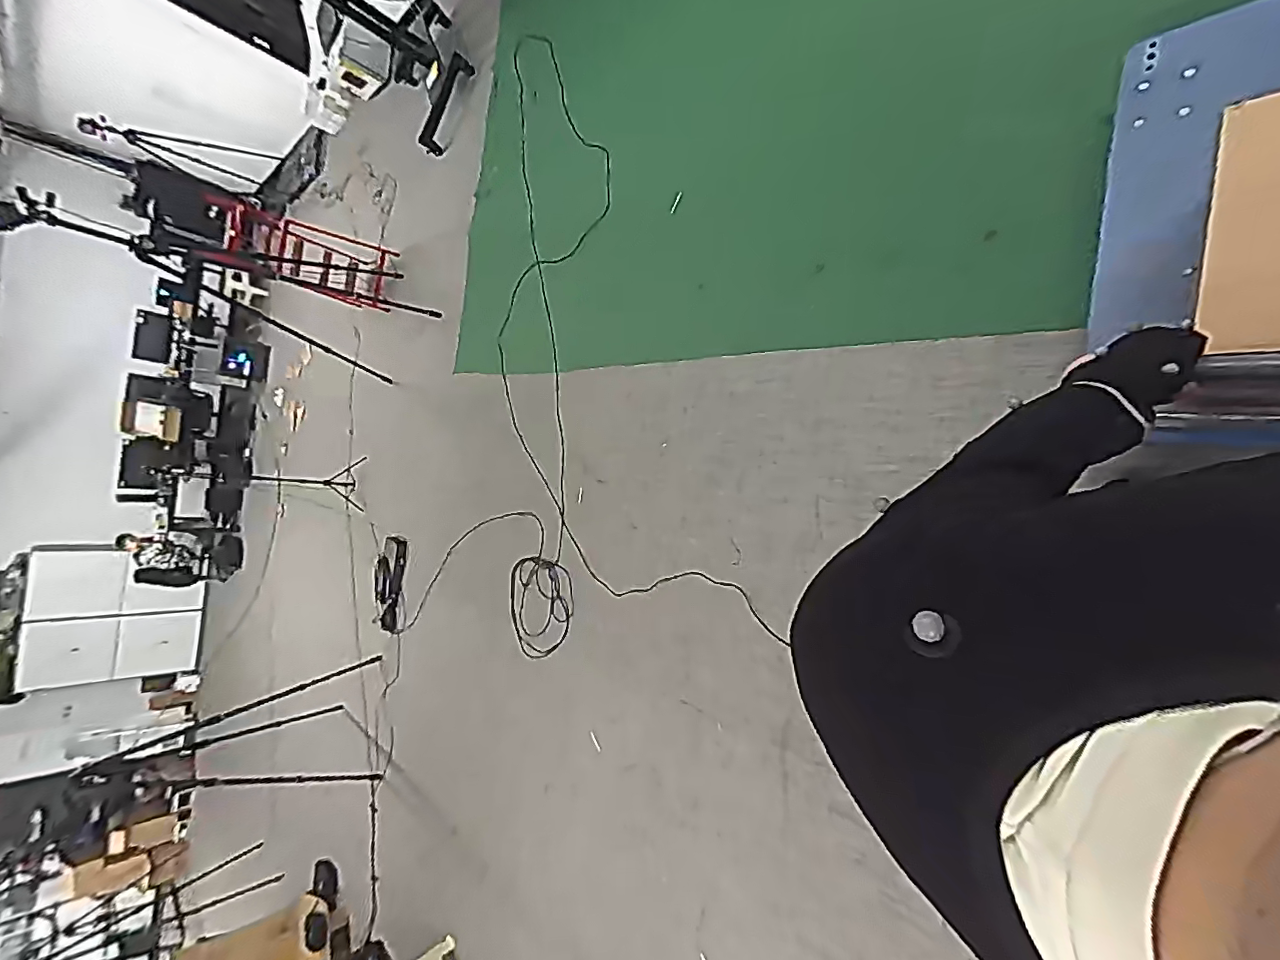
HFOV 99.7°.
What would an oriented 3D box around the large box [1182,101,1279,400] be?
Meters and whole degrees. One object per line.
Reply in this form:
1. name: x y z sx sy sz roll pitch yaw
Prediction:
1. large box: 1.117 -0.361 0.876 0.320 0.320 0.408 7 88 42
